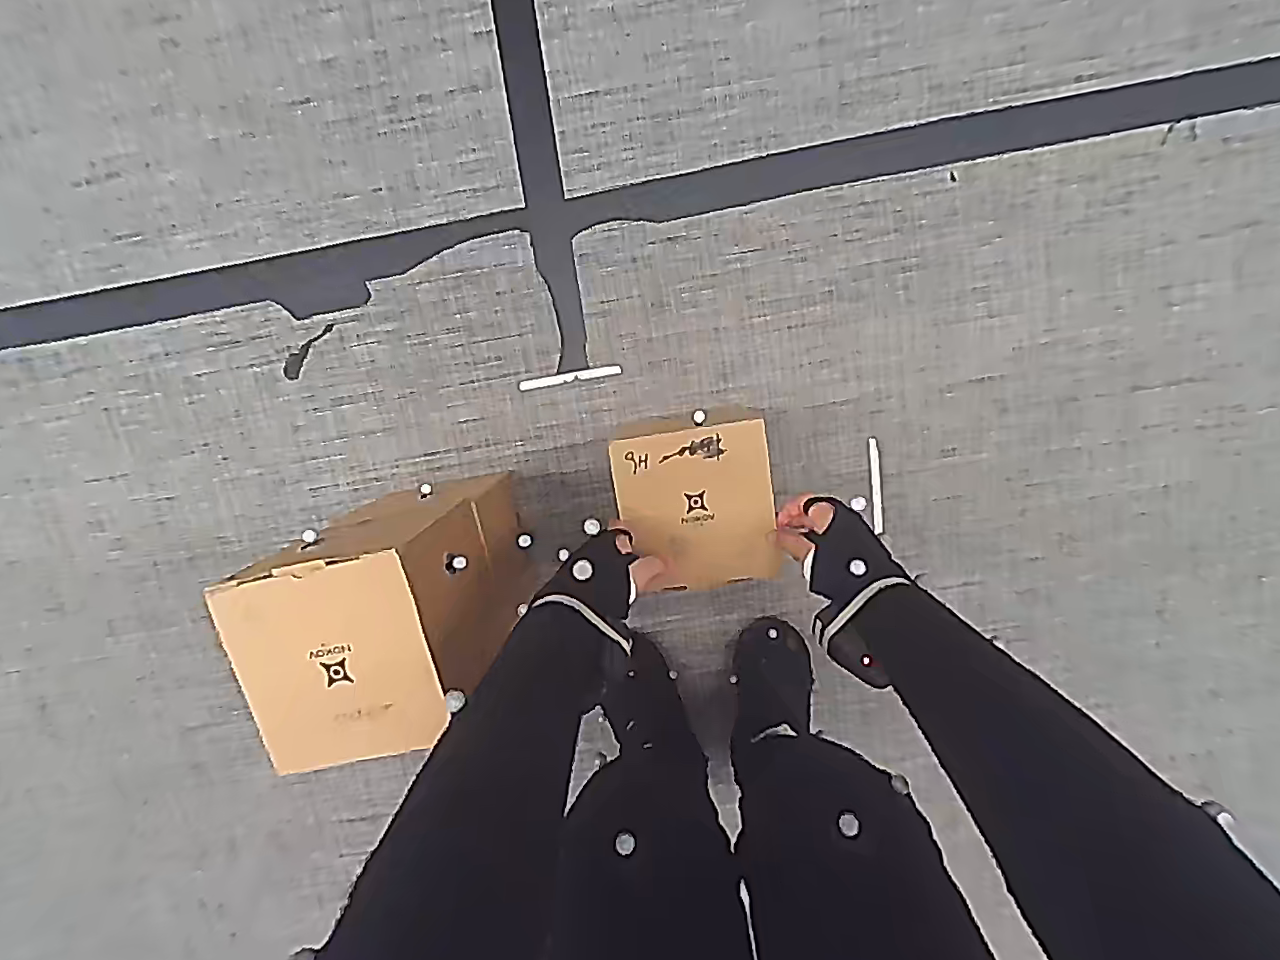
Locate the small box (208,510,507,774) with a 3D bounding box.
[{"bbox_3d":[-0.246,0.137,0.520,0.168,0.176,0.179,-13,103,5],"label":"small box"}]

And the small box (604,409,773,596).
[{"bbox_3d":[0.059,0.018,0.659,0.168,0.176,0.179,-9,102,5],"label":"small box"}]

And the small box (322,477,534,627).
[{"bbox_3d":[-0.249,0.103,0.679,0.179,0.176,0.168,-11,101,2],"label":"small box"}]
